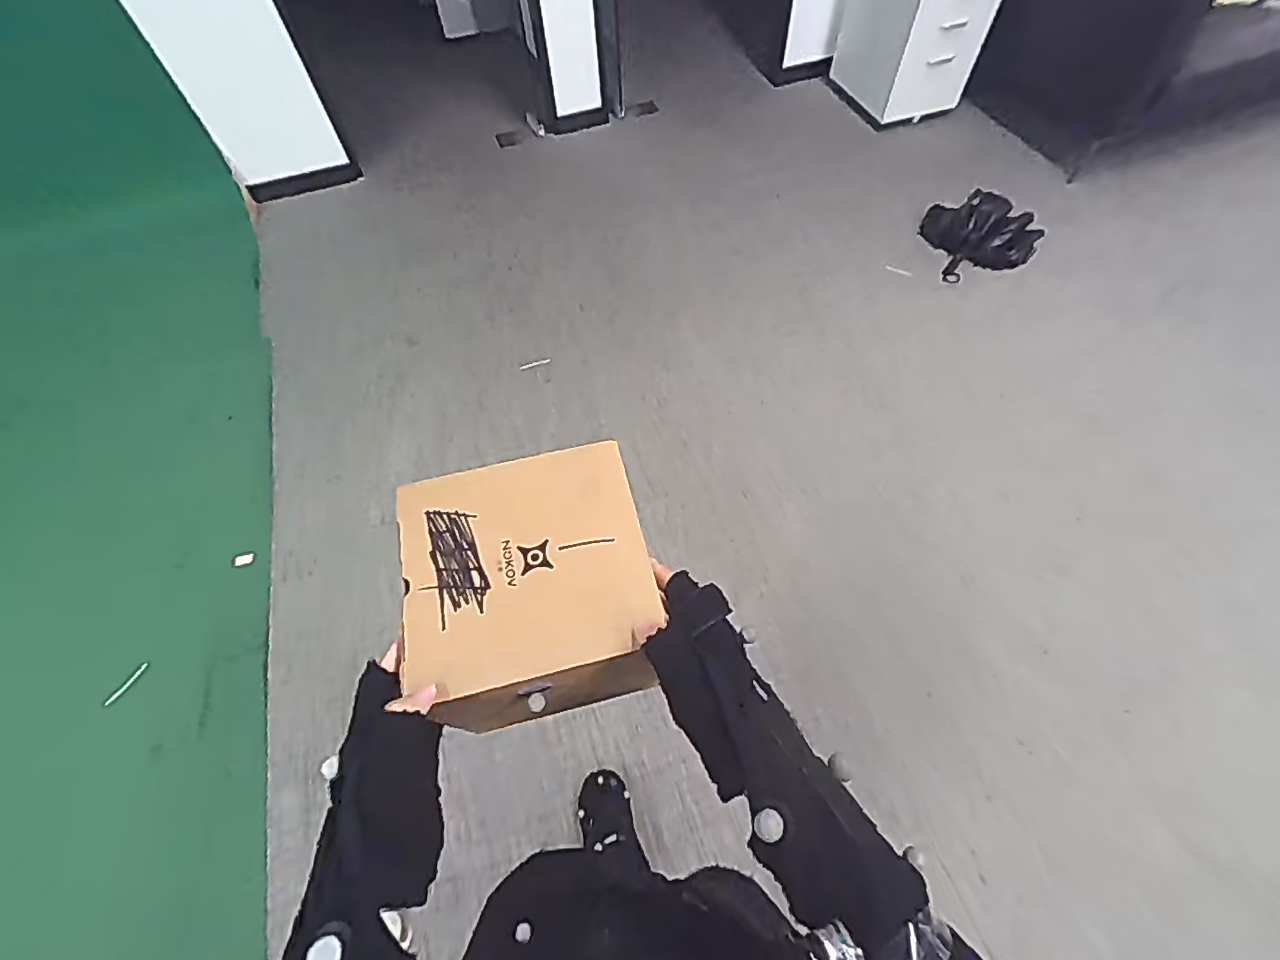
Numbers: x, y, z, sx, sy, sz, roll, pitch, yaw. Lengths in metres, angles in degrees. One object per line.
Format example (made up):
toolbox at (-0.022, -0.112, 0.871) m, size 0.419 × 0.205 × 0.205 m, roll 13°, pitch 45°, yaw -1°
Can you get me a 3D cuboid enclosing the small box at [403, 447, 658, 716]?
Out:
small box at (-0.087, 0.097, 0.474) m, size 0.179 × 0.176 × 0.168 m, roll -12°, pitch 63°, yaw -7°
